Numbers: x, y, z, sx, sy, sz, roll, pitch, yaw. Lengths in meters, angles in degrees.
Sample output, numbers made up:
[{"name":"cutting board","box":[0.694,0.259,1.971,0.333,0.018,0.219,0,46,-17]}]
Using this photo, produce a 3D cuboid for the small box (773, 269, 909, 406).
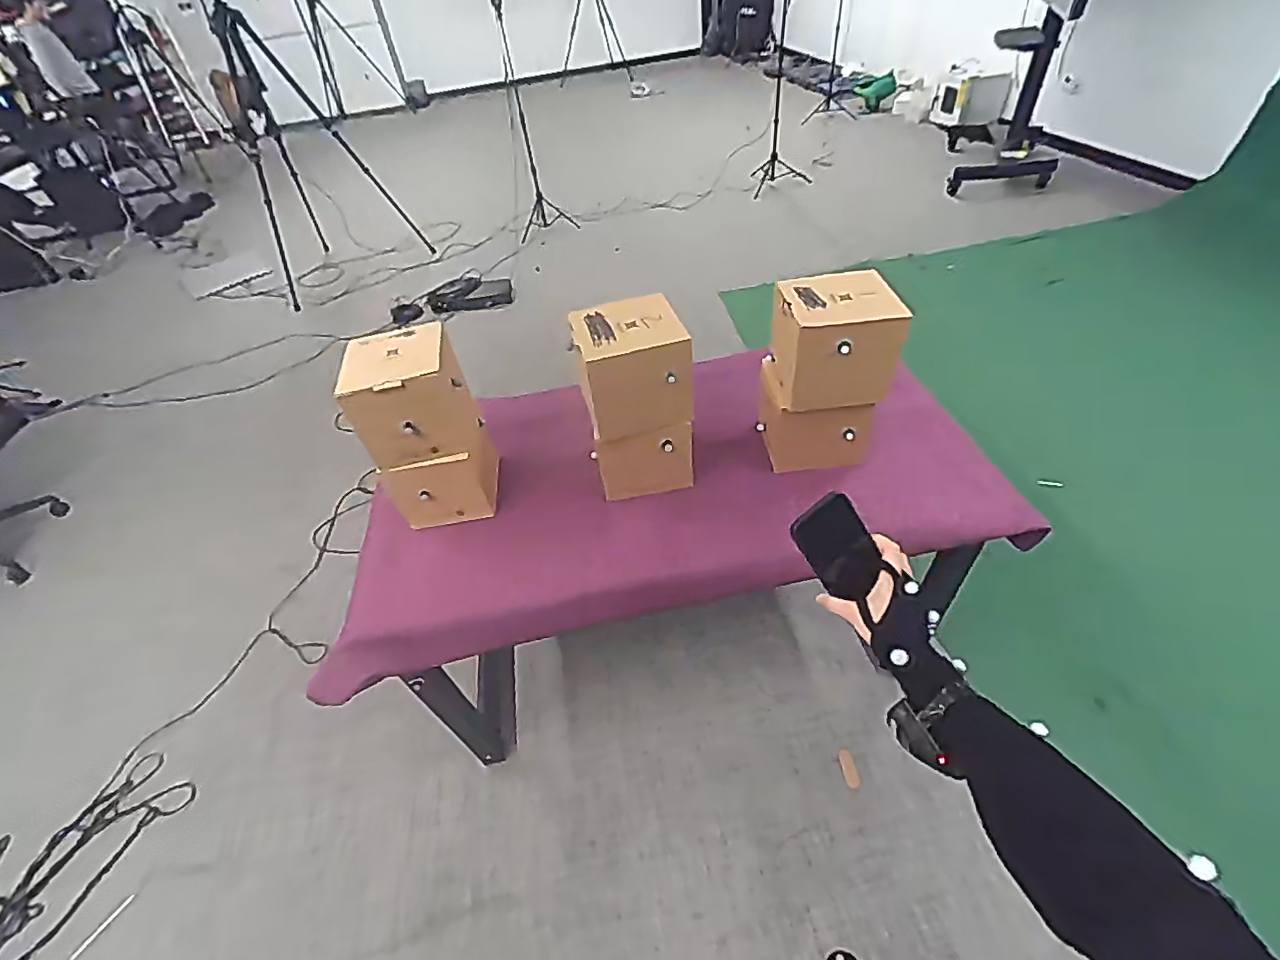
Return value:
[{"name":"small box","box":[0.333,-0.243,0.940,0.179,0.176,0.168,-5,46,2]}]

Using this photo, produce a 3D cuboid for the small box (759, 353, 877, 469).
[{"name":"small box","box":[0.339,-0.140,1.068,0.179,0.176,0.168,-6,46,3]}]

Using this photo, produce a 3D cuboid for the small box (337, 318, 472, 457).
[{"name":"small box","box":[-0.403,-0.158,0.961,0.168,0.176,0.179,-13,47,-5]}]

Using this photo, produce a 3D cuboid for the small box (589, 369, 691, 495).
[{"name":"small box","box":[0.002,-0.092,1.068,0.179,0.176,0.168,-10,46,-1]}]

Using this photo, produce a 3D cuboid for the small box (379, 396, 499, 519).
[{"name":"small box","box":[-0.385,-0.039,1.073,0.168,0.176,0.179,-10,46,-1]}]
